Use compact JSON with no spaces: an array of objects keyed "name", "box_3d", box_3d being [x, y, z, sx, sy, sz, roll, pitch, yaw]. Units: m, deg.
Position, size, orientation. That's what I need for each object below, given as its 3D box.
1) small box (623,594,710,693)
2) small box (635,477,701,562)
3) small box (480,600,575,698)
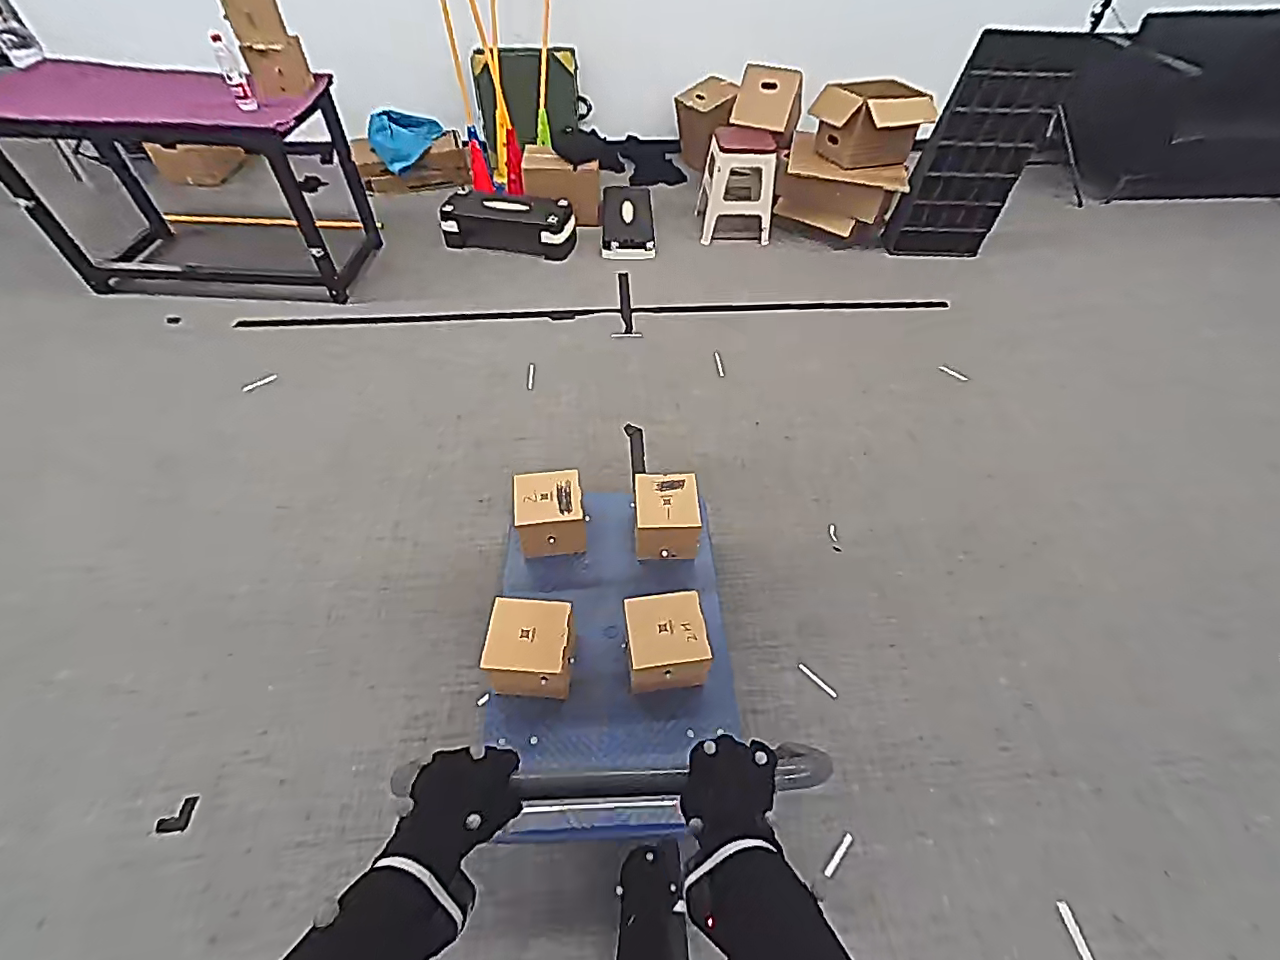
[{"name":"small box","box_3d":[0.056,0.388,1.268,0.179,0.176,0.168,-5,52,-6]},{"name":"small box","box_3d":[0.071,0.110,1.489,0.168,0.176,0.179,0,53,-2]},{"name":"small box","box_3d":[-0.251,0.394,1.252,0.179,0.176,0.168,5,51,-1]}]
